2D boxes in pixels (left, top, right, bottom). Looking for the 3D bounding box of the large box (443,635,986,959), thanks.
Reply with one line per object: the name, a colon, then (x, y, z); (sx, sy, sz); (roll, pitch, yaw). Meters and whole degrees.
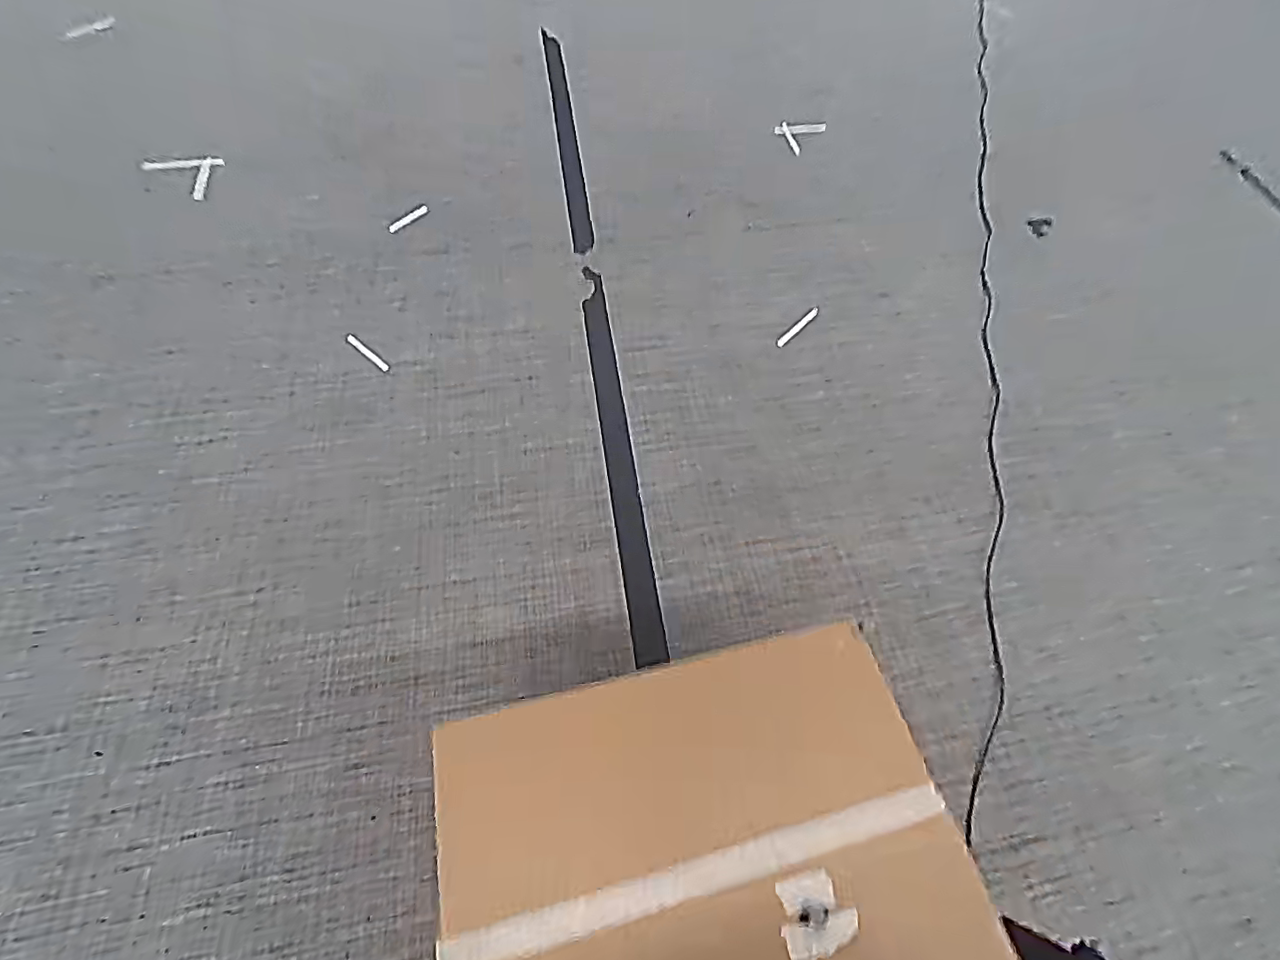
large box: (0.045, 0.402, 0.573); (0.408, 0.320, 0.320); (-11, 62, -10)
